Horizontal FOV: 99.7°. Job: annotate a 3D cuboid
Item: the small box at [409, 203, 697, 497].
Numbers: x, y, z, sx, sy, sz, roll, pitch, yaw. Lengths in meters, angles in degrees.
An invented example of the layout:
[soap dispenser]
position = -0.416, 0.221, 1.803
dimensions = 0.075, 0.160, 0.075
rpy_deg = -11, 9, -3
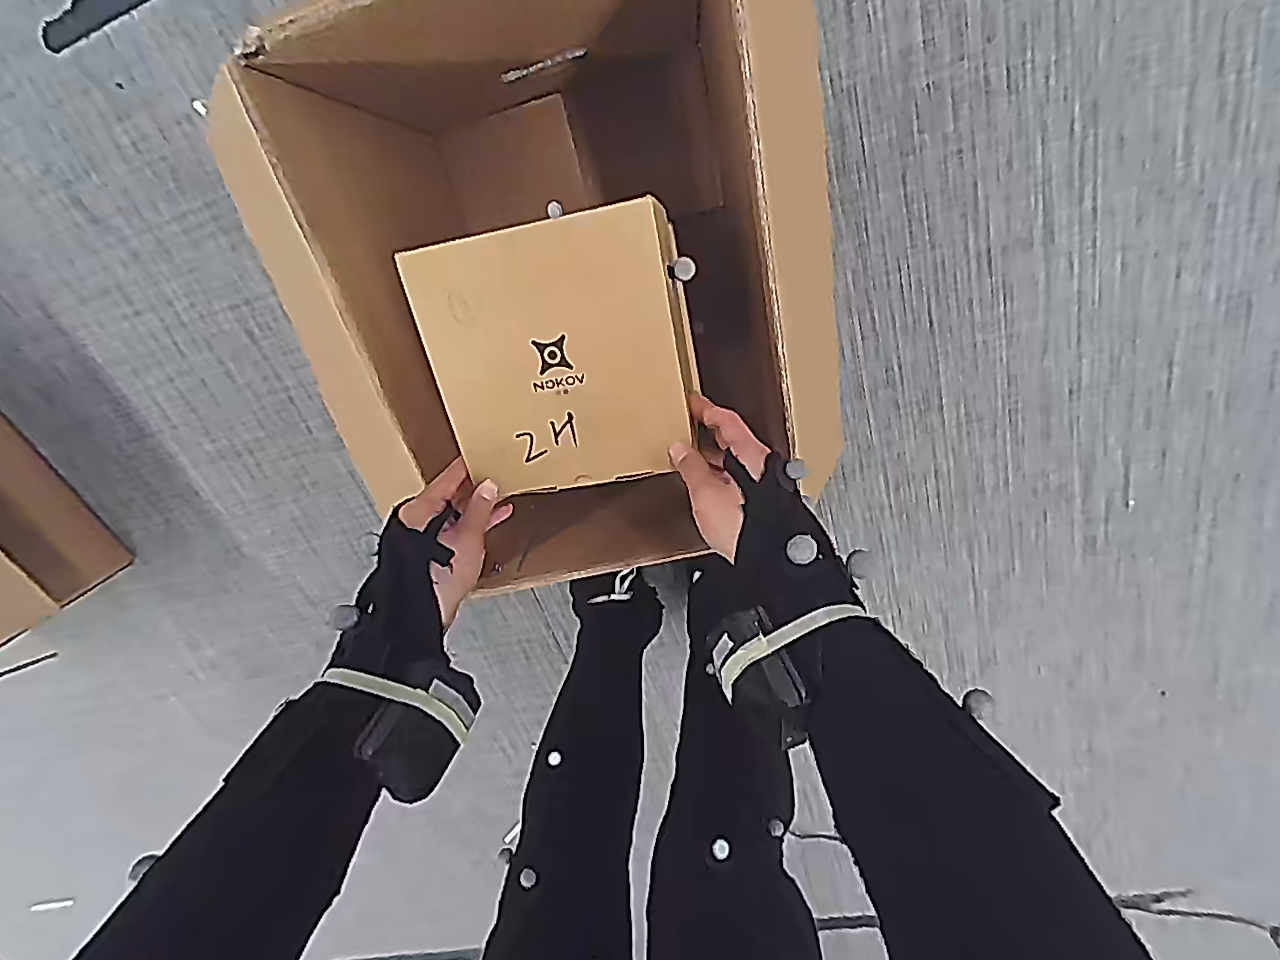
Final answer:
[small box]
position = -0.049, -0.107, 0.438
dimensions = 0.168, 0.176, 0.179
rpy_deg = -8, 113, 9
